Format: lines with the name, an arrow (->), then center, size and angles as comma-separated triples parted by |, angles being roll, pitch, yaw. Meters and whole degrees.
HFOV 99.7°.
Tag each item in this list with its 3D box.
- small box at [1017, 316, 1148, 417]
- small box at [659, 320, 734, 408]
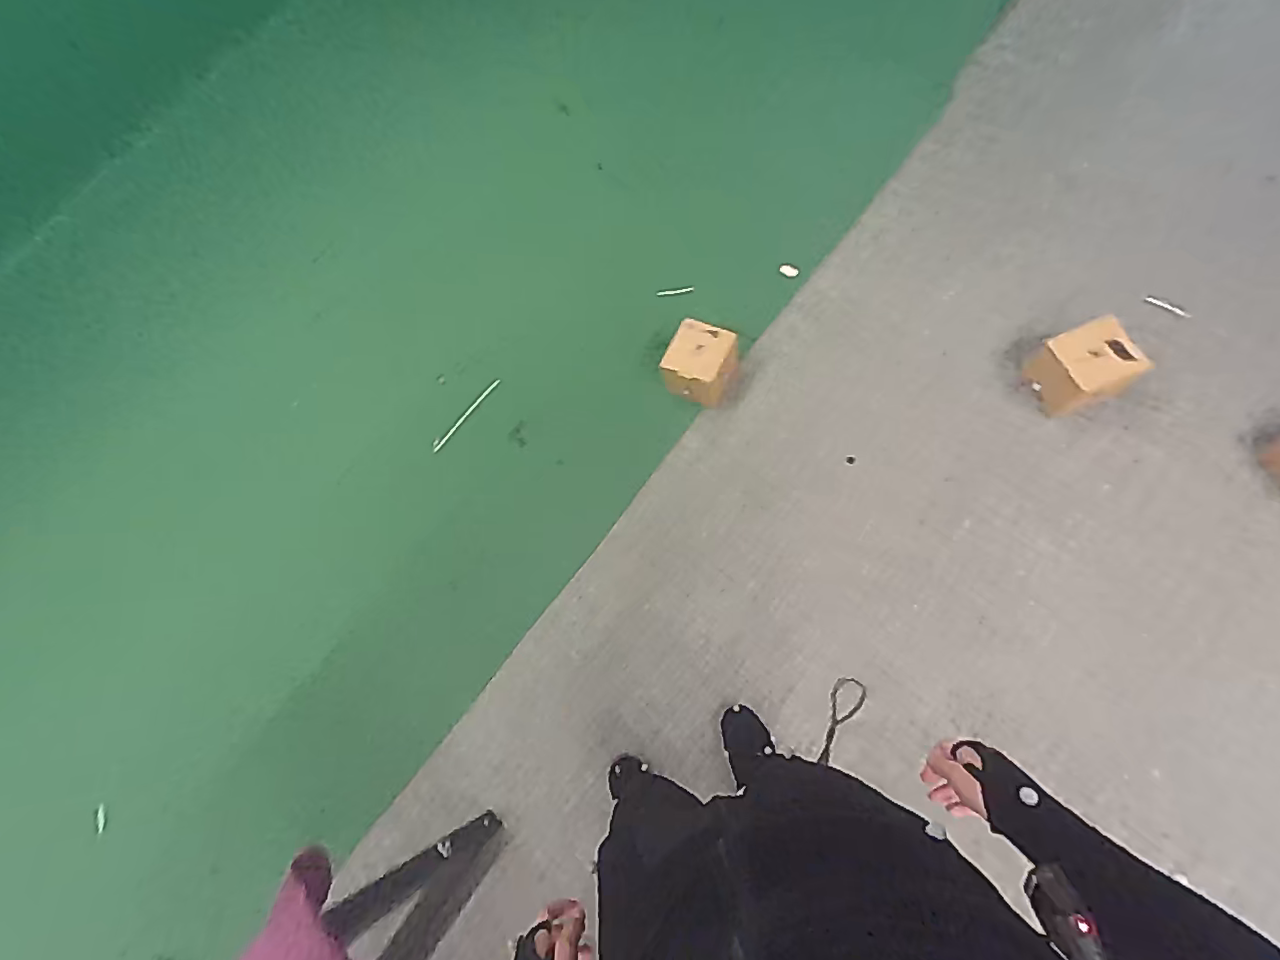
small box -> 1.155, -0.292, 1.428 | 0.179, 0.176, 0.168 | -22, 69, 4
small box -> 0.179, -0.344, 1.635 | 0.168, 0.176, 0.179 | 24, 78, 17
